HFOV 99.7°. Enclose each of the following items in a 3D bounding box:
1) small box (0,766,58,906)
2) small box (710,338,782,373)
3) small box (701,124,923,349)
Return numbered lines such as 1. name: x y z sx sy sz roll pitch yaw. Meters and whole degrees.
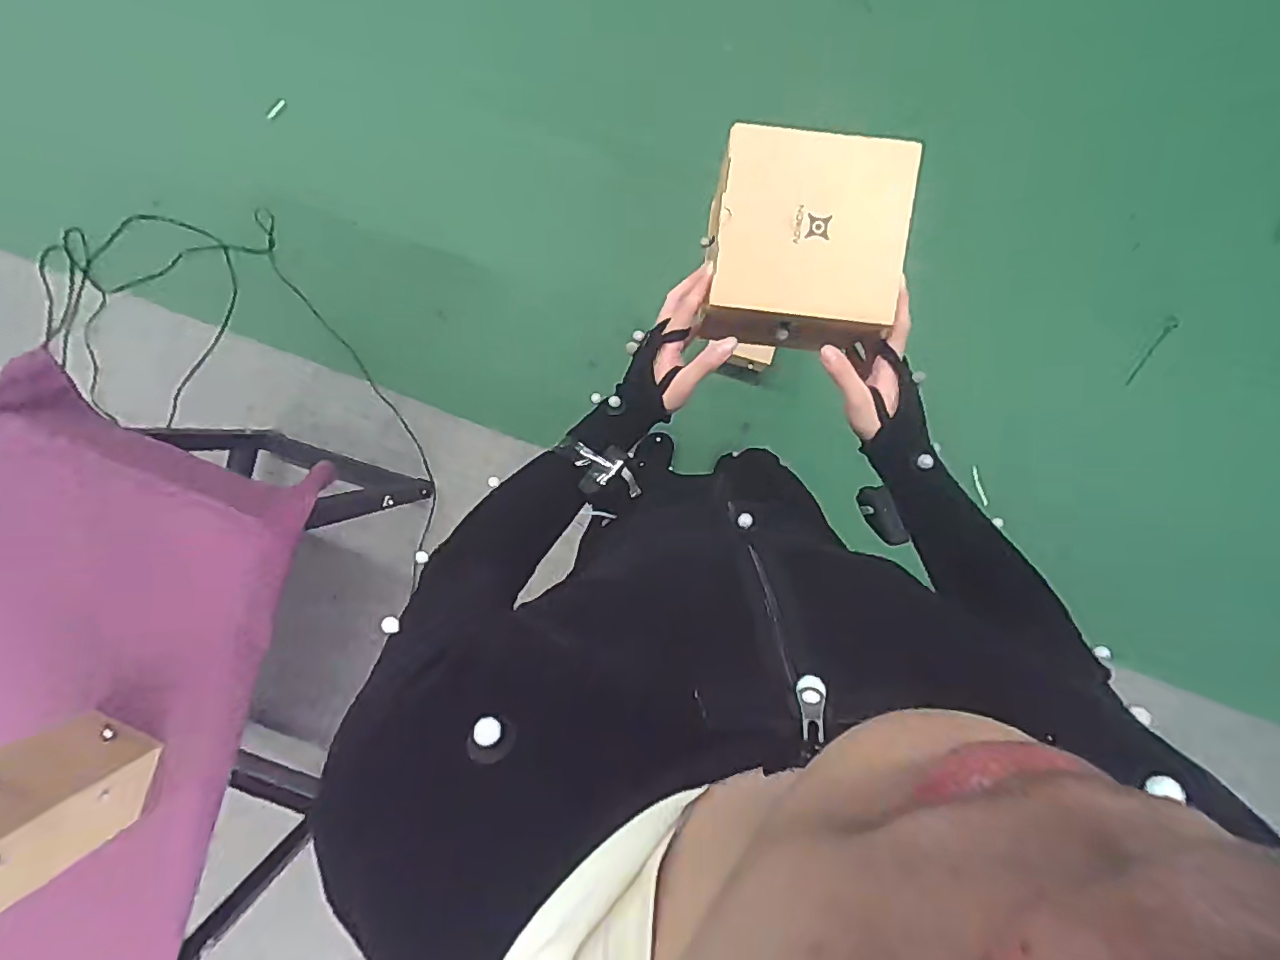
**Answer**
1. small box: -1.043 0.561 0.805 0.168 0.176 0.179 25 96 4
2. small box: 0.304 -0.403 1.504 0.179 0.176 0.168 17 95 4
3. small box: 0.164 -0.240 0.576 0.179 0.176 0.168 7 94 3
